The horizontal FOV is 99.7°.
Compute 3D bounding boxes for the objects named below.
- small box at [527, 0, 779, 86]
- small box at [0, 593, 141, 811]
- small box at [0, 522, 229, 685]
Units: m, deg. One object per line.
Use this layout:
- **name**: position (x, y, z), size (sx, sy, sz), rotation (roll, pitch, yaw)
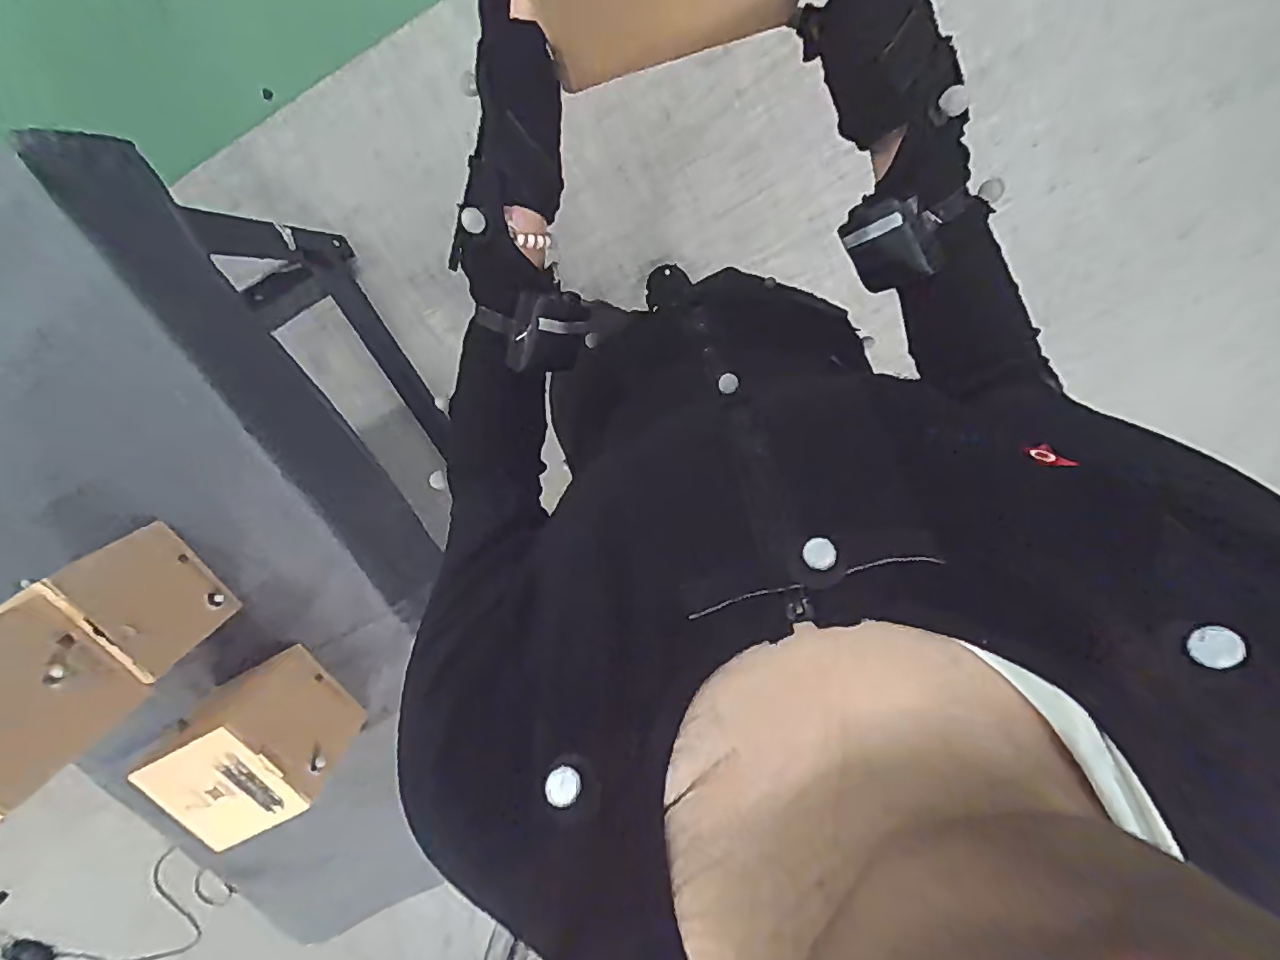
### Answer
- **small box**: position (0.001, -0.358, 0.301), size (0.179, 0.176, 0.168), rotation (-15, 110, 5)
- **small box**: position (-0.709, 0.255, 0.574), size (0.179, 0.176, 0.168), rotation (-30, 108, 9)
- **small box**: position (-0.704, 0.183, 0.721), size (0.179, 0.176, 0.168), rotation (-28, 107, 10)
